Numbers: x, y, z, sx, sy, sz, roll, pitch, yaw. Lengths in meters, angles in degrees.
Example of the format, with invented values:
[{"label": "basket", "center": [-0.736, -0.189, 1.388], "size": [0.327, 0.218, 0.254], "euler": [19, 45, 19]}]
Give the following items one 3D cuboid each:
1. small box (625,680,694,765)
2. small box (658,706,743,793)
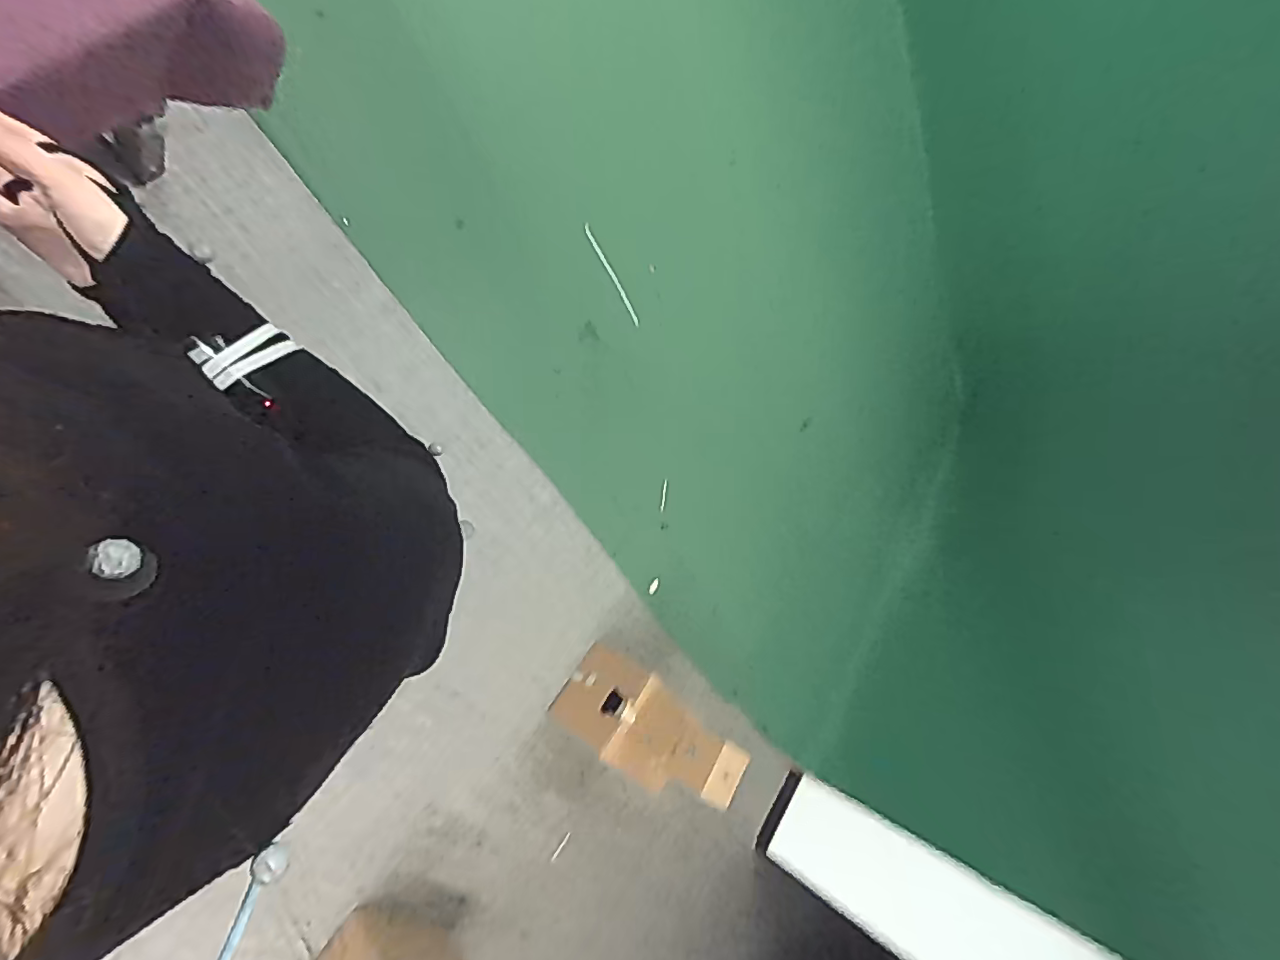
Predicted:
[{"label": "small box", "center": [0.073, 0.806, 1.806], "size": [0.179, 0.176, 0.168], "euler": [-54, 131, -22]}, {"label": "small box", "center": [0.187, 0.836, 1.692], "size": [0.168, 0.176, 0.179], "euler": [-56, 131, -18]}]
